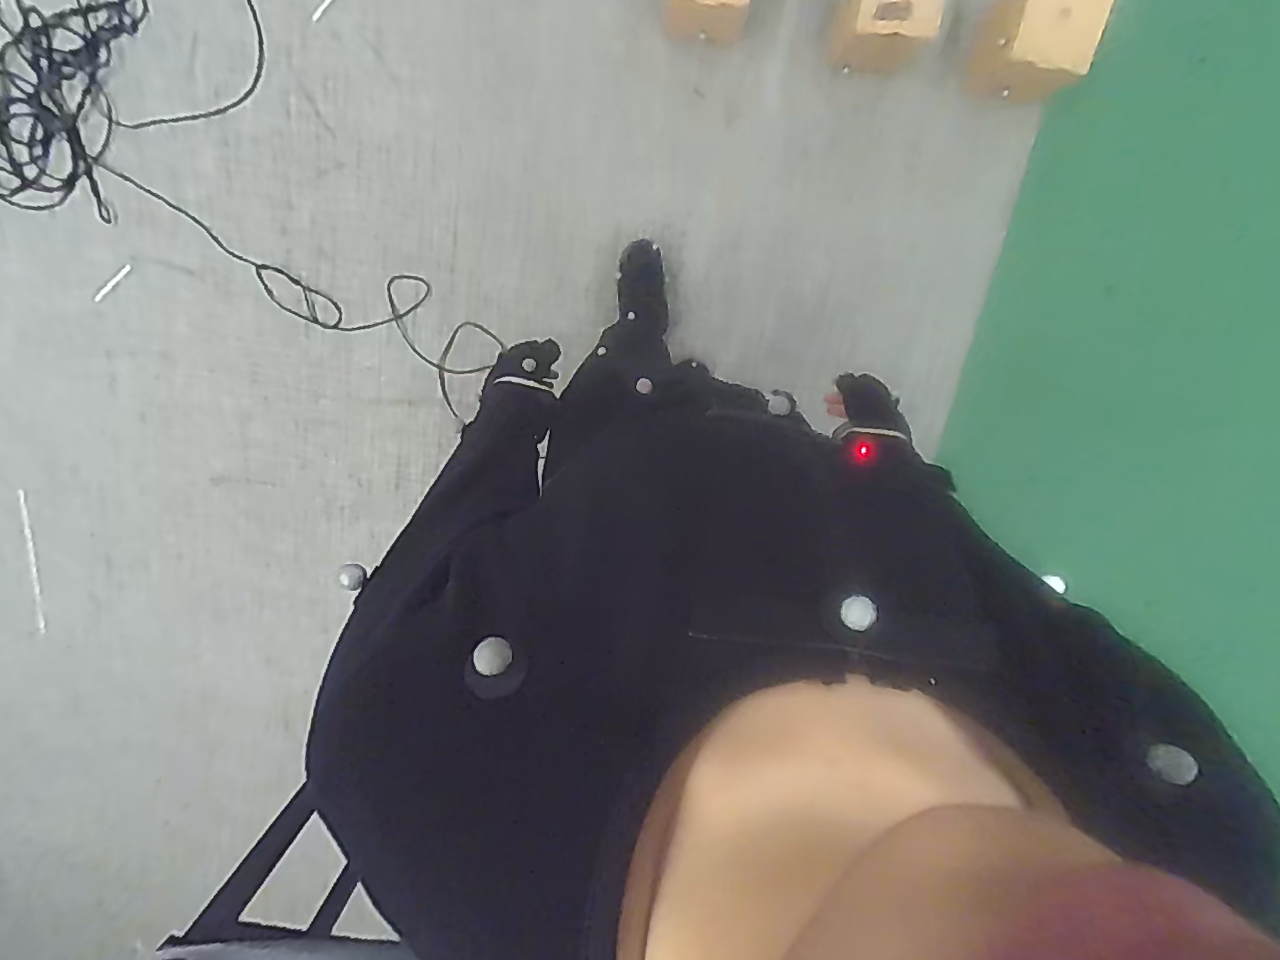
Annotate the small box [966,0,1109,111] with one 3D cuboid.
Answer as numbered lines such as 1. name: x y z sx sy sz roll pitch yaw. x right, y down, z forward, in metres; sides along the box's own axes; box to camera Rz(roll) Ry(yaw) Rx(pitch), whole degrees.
1. small box: 0.840 -0.935 1.157 0.168 0.176 0.179 11 105 -1
